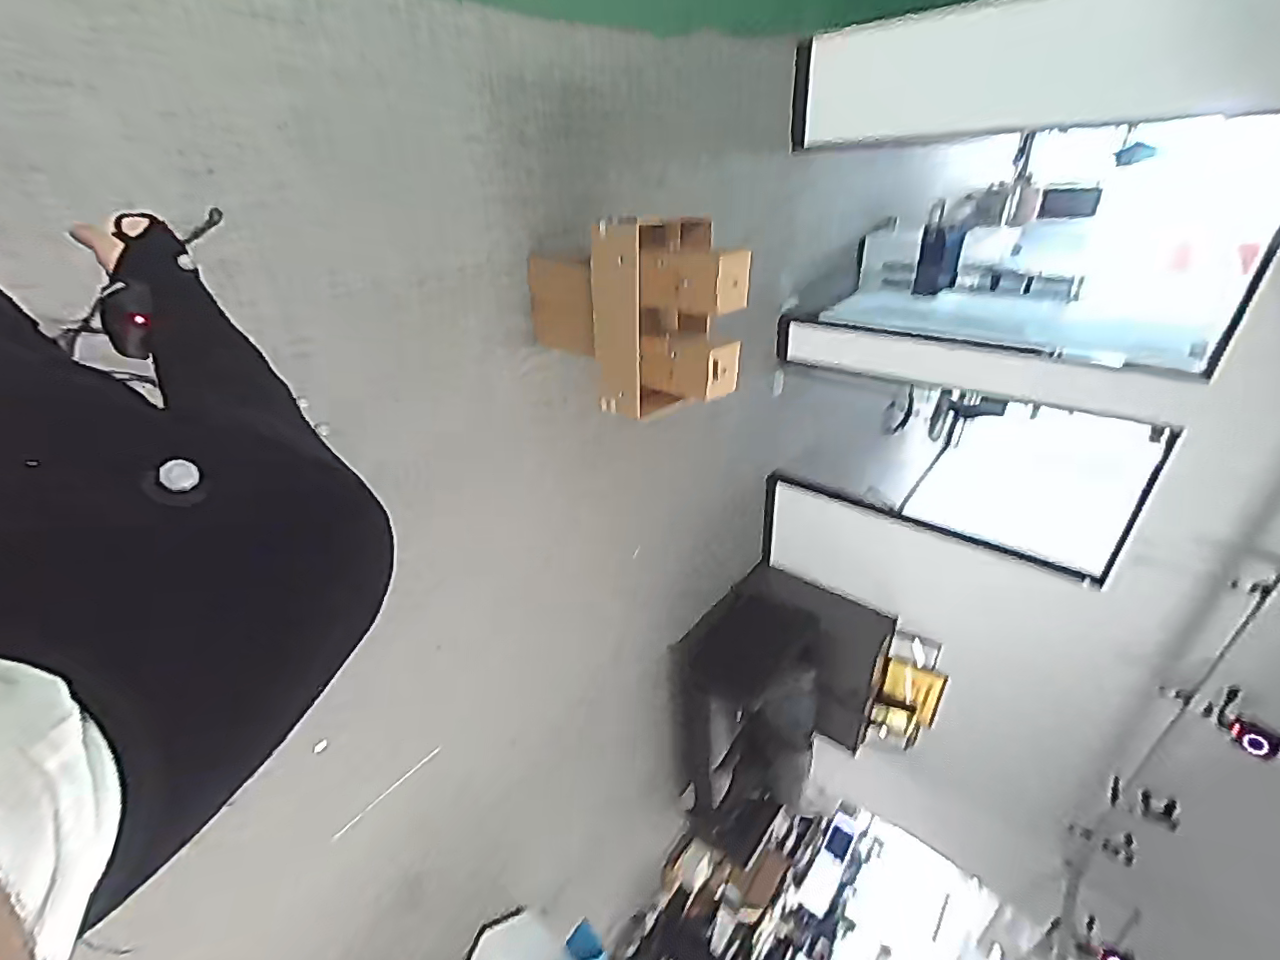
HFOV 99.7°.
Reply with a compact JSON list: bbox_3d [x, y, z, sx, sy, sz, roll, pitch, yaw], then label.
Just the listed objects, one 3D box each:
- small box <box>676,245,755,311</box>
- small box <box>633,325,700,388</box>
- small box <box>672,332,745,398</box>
[{"bbox_3d":[0.230,-0.621,1.651,0.179,0.176,0.168,-29,129,-42],"label":"small box"},{"bbox_3d":[0.094,-0.429,1.858,0.179,0.176,0.168,-27,127,-42],"label":"small box"},{"bbox_3d":[0.218,-0.380,1.763,0.179,0.176,0.168,-27,128,-43],"label":"small box"}]
